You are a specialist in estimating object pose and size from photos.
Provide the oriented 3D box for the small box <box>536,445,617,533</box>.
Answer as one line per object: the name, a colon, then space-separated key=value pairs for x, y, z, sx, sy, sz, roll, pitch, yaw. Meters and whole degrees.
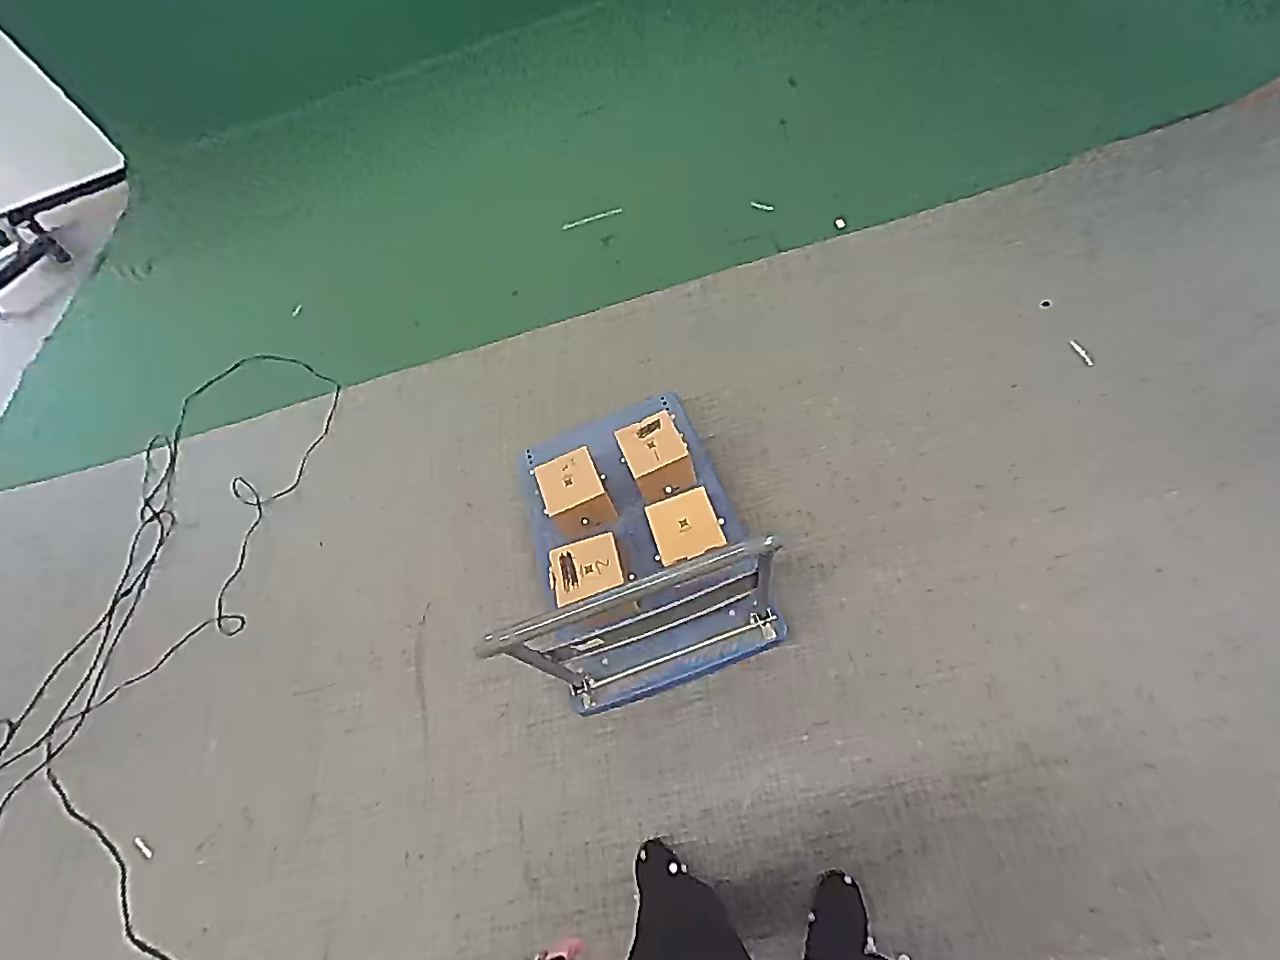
small box: x=-0.180 y=0.036 z=1.565 sx=0.168 sy=0.176 sz=0.179 roll=-23 pitch=58 yaw=-1

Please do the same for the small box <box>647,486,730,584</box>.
small box: x=0.130 y=0.150 z=1.427 sx=0.168 sy=0.176 sz=0.179 roll=-20 pitch=59 yaw=2

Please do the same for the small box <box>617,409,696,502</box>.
small box: x=0.051 y=-0.067 z=1.568 sx=0.168 sy=0.176 sz=0.179 roll=-24 pitch=59 yaw=0
